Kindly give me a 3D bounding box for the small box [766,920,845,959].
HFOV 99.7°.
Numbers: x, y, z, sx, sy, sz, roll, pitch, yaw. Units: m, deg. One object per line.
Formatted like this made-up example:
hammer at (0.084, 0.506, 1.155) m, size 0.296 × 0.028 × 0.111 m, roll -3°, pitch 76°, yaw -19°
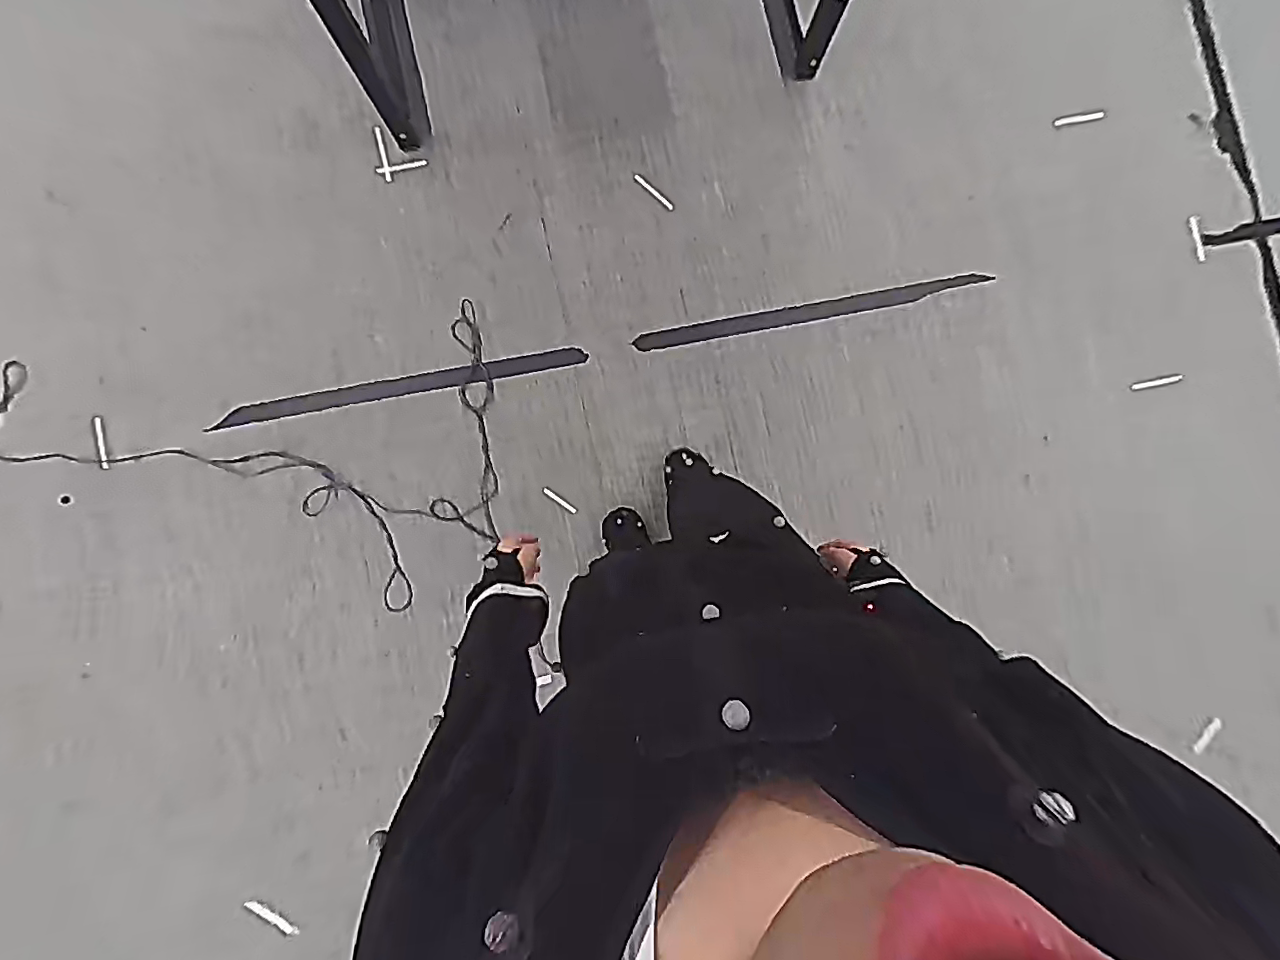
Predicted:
small box at (0.437, 1.284, 1.395) m, size 0.168 × 0.176 × 0.179 m, roll -10°, pitch 88°, yaw -2°
